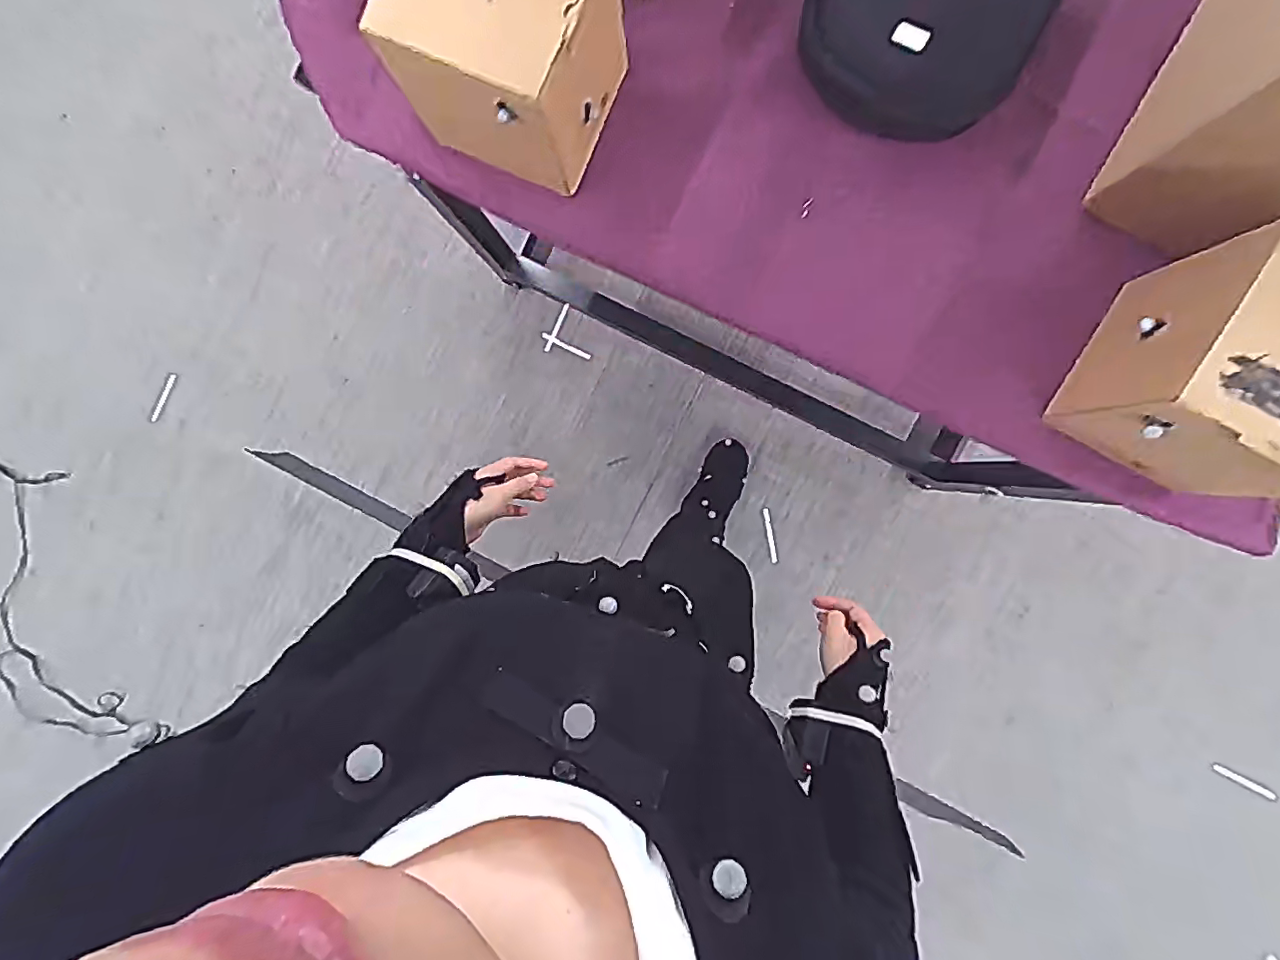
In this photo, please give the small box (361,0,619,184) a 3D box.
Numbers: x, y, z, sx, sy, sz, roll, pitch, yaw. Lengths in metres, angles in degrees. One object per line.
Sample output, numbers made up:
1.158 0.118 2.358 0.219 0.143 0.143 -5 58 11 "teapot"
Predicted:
-0.133 -0.441 0.549 0.179 0.176 0.168 23 92 1 "small box"
